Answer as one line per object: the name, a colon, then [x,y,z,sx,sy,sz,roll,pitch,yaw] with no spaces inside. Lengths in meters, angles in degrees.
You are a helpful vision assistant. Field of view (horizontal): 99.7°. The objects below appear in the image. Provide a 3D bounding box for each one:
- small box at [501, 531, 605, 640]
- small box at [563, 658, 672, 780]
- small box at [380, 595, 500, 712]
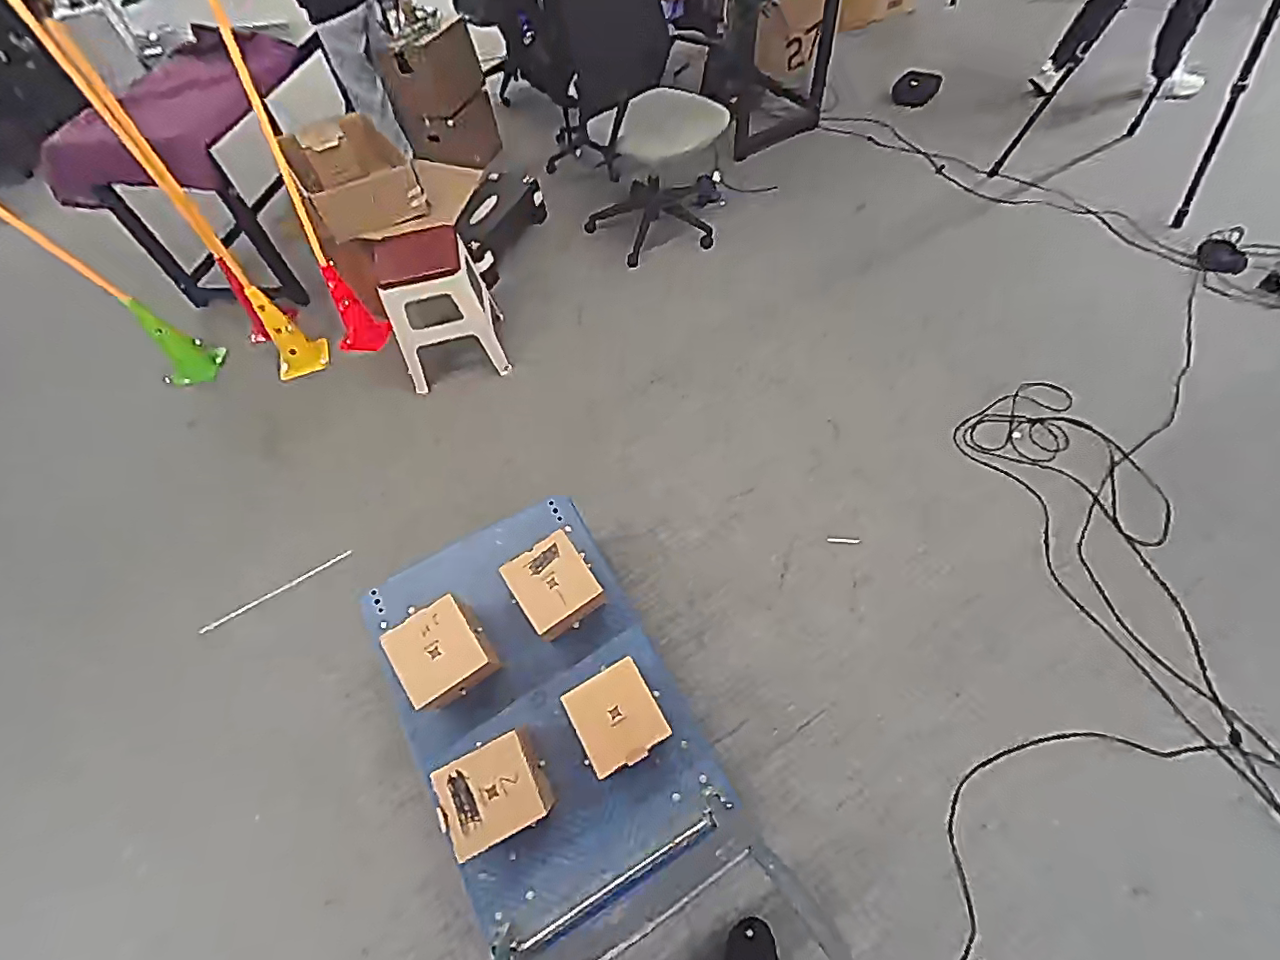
small box: [-0.195,0.249,1.248,0.168,0.176,0.179,-32,74,-14]
small box: [-0.052,0.503,1.153,0.168,0.176,0.179,-27,73,-13]
small box: [-0.427,0.380,1.183,0.168,0.176,0.179,-31,73,-15]
